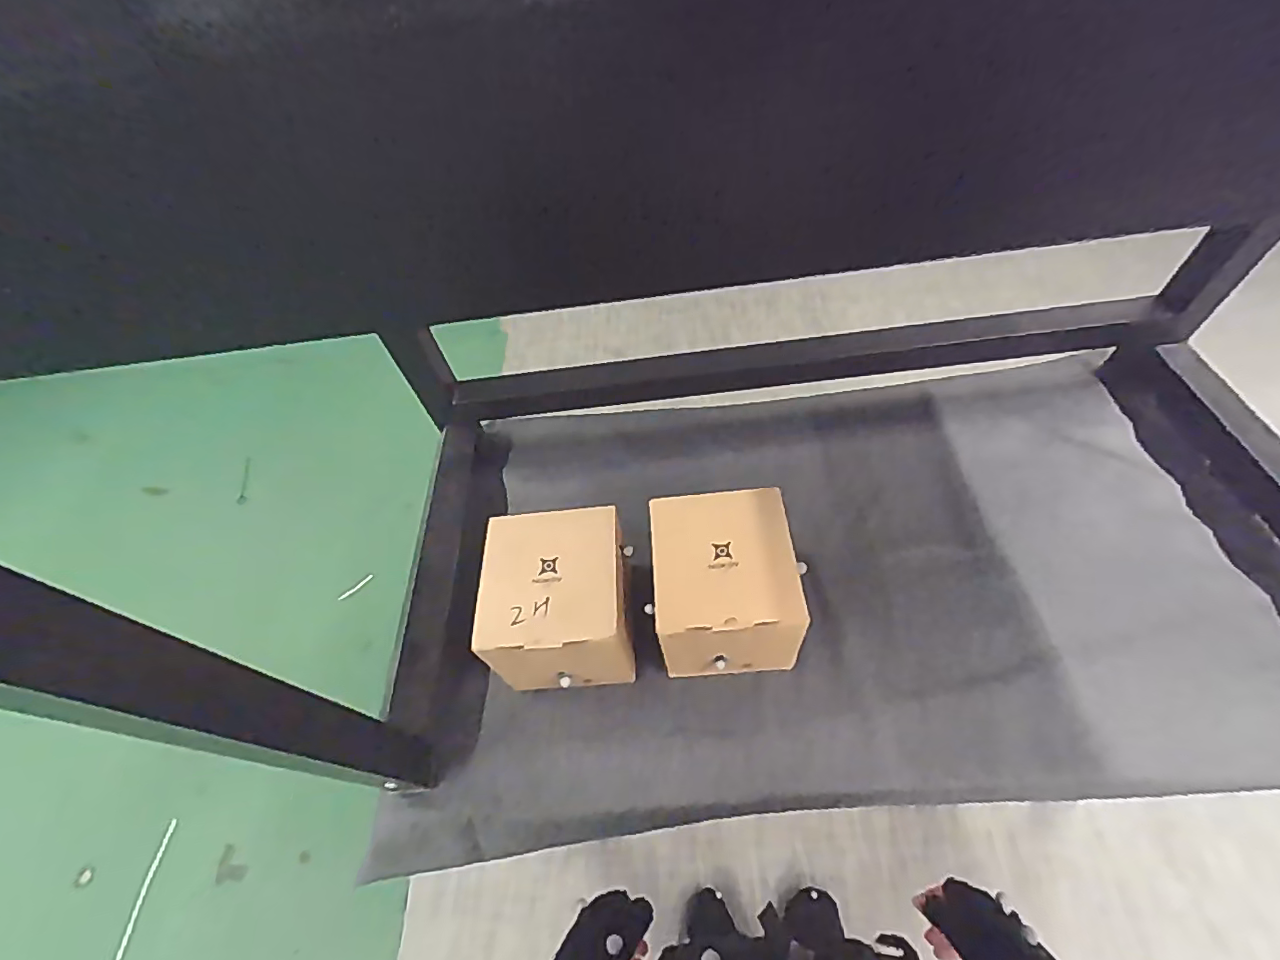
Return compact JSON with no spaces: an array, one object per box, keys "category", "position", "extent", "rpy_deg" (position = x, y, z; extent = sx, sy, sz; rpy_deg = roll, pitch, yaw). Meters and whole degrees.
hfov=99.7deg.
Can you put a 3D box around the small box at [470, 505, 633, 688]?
[{"category":"small box","position":[-0.101,0.155,0.705],"extent":[0.168,0.176,0.179],"rpy_deg":[-6,54,4]}]
